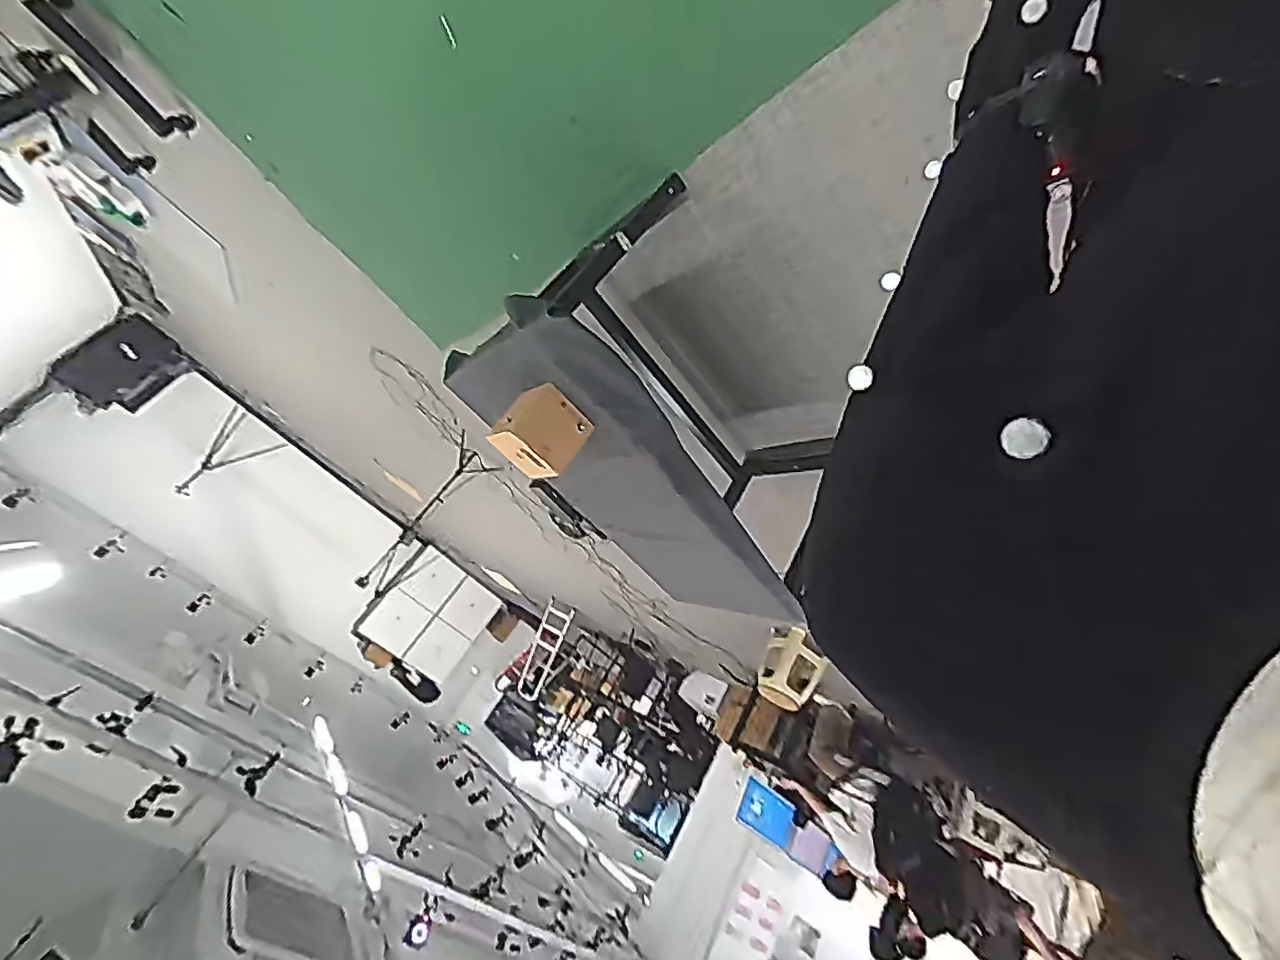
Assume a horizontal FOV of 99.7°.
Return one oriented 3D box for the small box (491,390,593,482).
[{"bbox_3d":[-0.245,-0.113,1.396,0.168,0.176,0.179,46,154,-25],"label":"small box"}]
